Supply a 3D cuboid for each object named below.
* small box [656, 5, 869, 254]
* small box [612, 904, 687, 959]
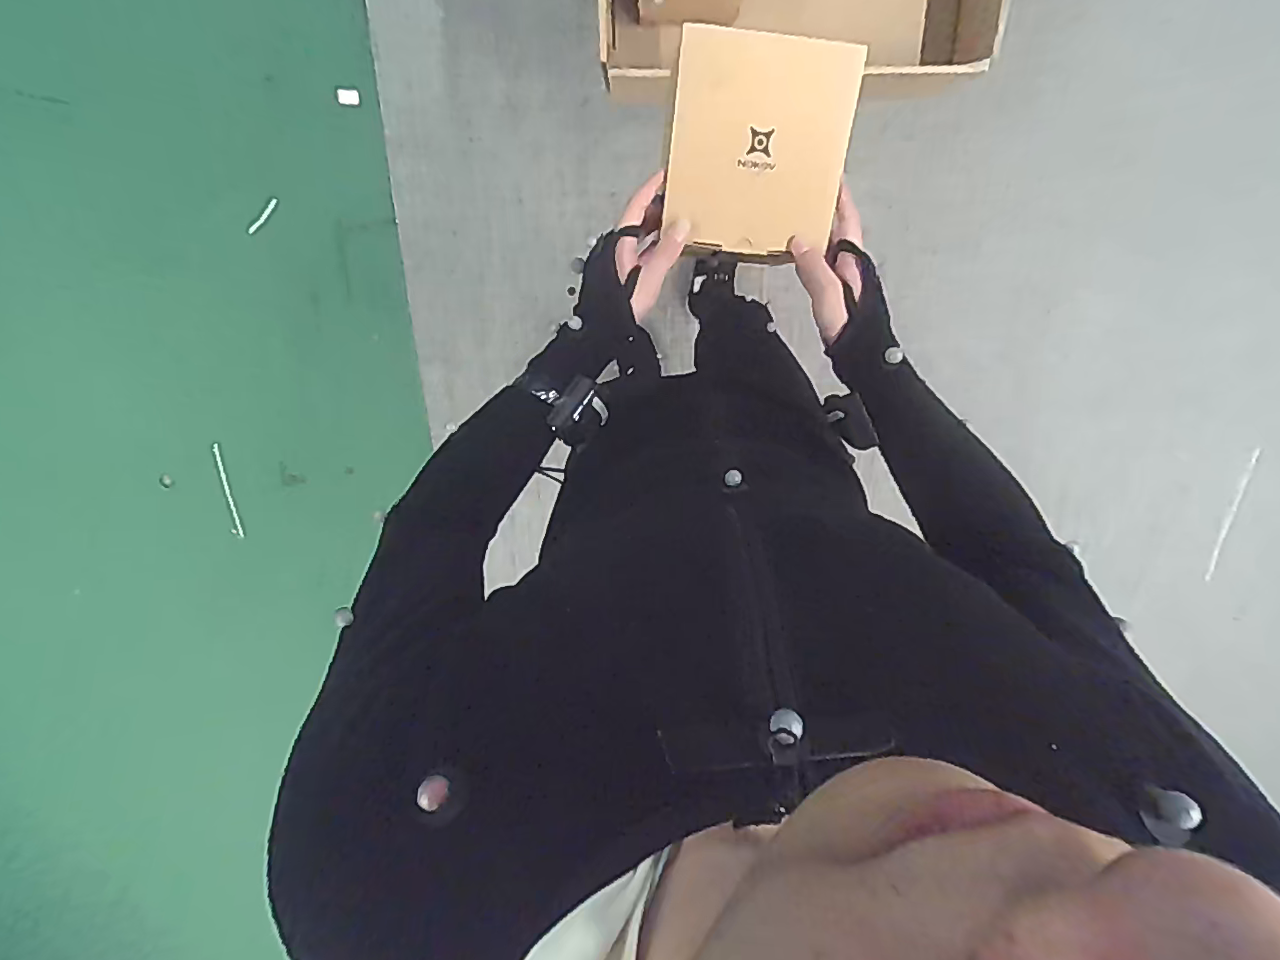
[{"bbox_3d":[0.109,-0.344,0.568,0.168,0.176,0.179,5,110,-3],"label":"small box"},{"bbox_3d":[0.021,1.095,1.211,0.168,0.176,0.179,-1,112,-1],"label":"small box"}]
